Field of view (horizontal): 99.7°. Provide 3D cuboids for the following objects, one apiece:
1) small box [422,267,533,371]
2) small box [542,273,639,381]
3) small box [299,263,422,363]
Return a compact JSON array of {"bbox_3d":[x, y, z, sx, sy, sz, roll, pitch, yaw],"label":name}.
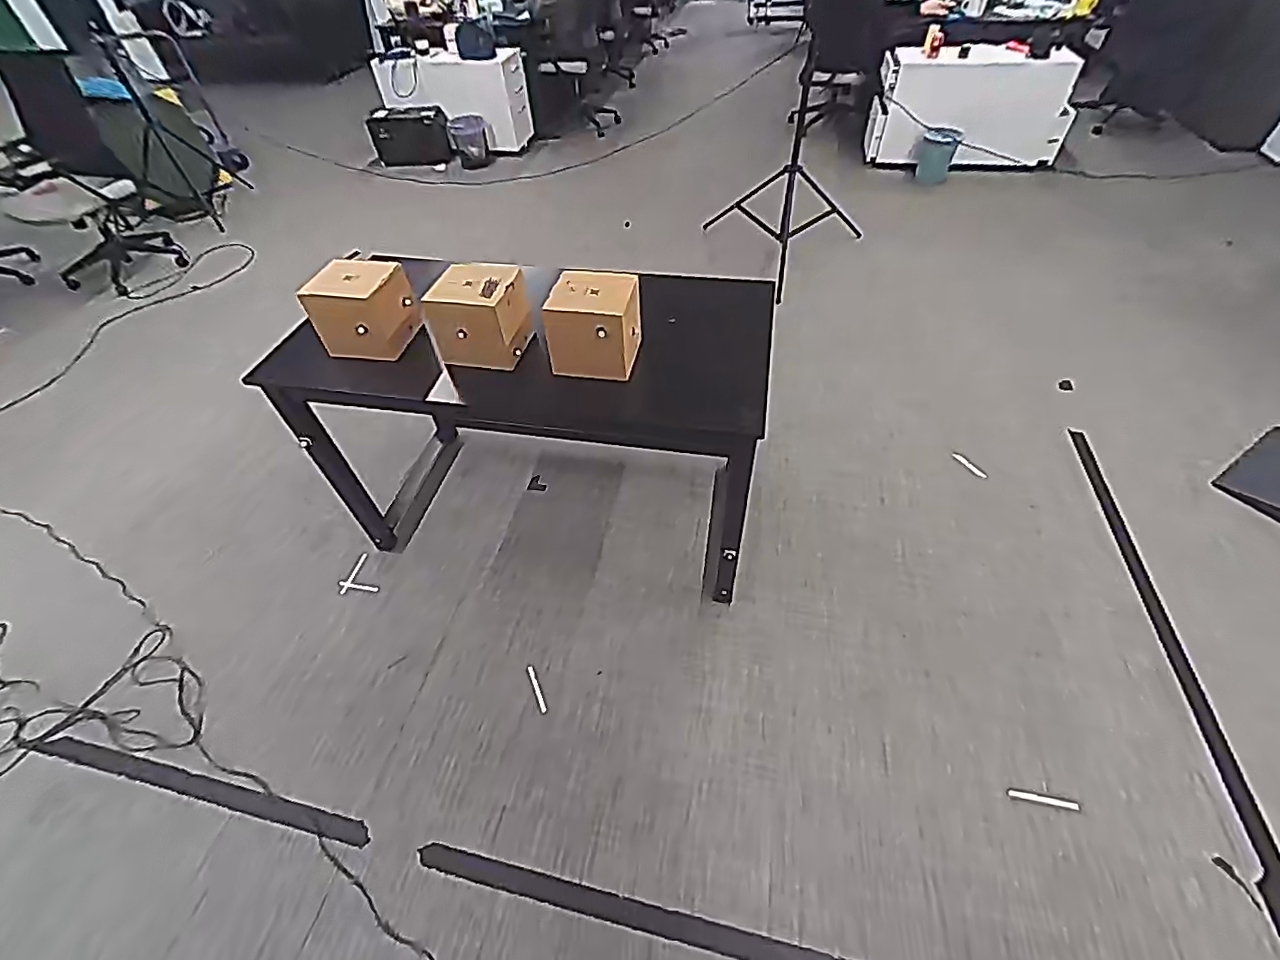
[{"bbox_3d":[-0.365,-0.372,1.256,0.179,0.176,0.168,7,49,10],"label":"small box"},{"bbox_3d":[-0.100,-0.340,1.211,0.179,0.176,0.168,6,49,9],"label":"small box"},{"bbox_3d":[-0.656,-0.399,1.298,0.179,0.176,0.168,5,48,8],"label":"small box"}]
